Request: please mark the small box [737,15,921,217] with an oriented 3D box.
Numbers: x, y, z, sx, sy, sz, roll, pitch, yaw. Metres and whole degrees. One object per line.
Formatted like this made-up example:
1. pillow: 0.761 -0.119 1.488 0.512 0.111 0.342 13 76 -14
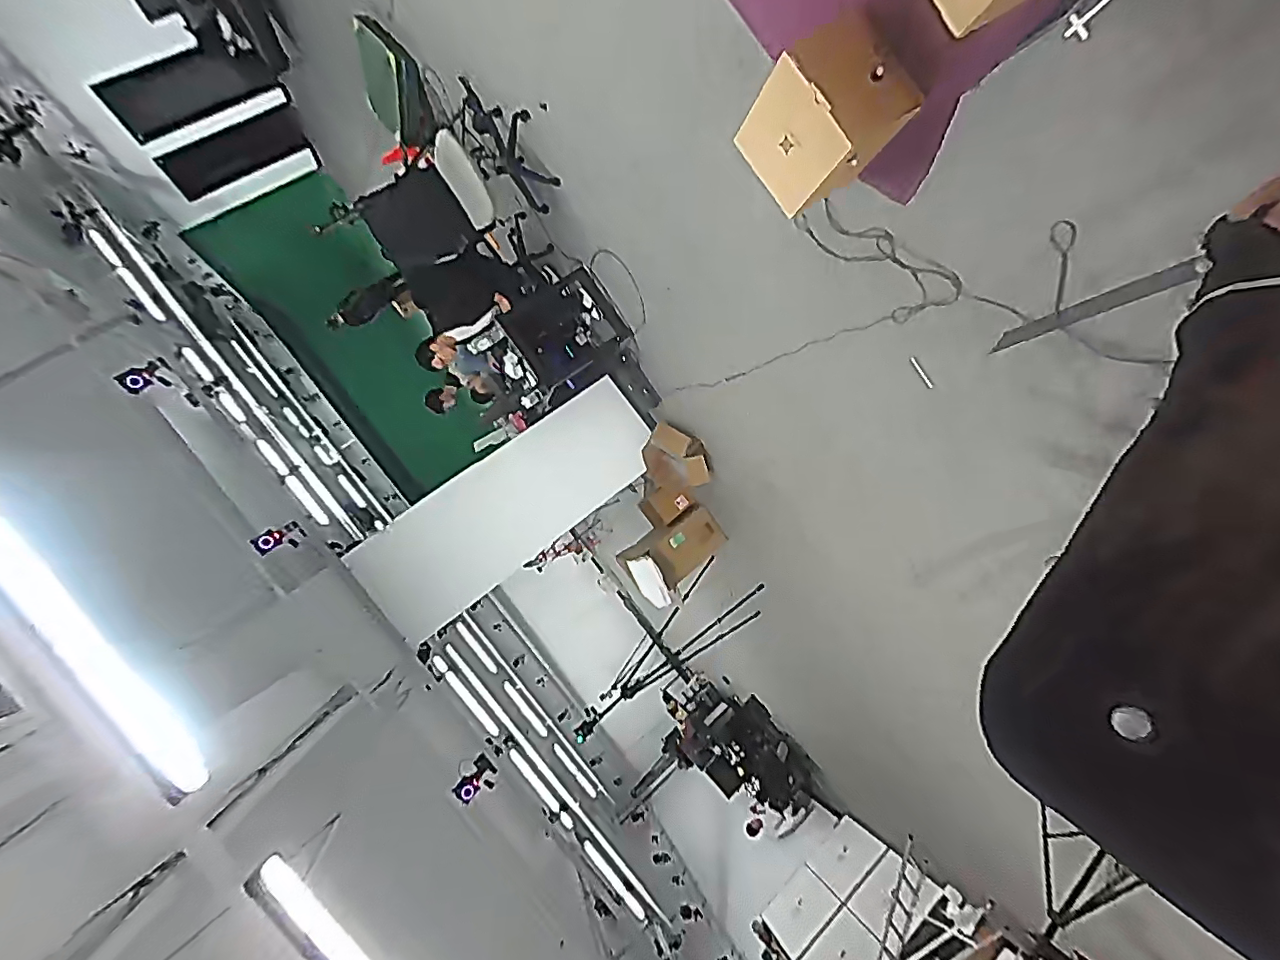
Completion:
1. small box: 0.291 -0.563 0.849 0.168 0.176 0.179 53 163 -2
